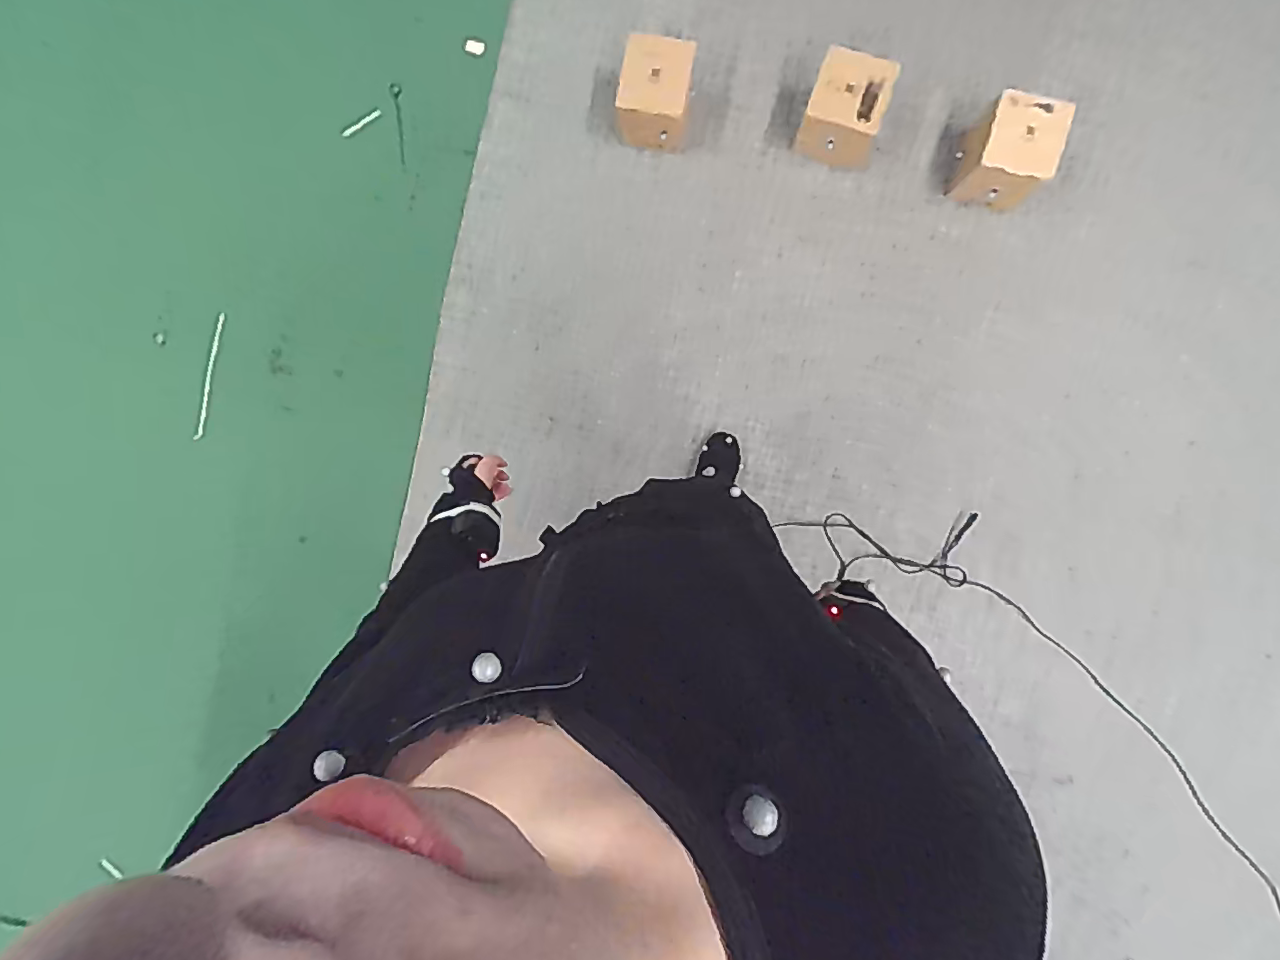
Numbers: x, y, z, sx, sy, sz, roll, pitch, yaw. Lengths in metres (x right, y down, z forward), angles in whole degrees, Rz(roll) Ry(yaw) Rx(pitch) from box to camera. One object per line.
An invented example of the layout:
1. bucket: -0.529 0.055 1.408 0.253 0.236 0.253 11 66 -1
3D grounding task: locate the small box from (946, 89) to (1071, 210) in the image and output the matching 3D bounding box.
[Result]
1. small box: 0.874 -0.785 1.304 0.168 0.176 0.179 16 95 3

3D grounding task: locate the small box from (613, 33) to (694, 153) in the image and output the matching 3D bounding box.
1. small box: 0.037 -0.963 1.362 0.168 0.176 0.179 12 93 3
